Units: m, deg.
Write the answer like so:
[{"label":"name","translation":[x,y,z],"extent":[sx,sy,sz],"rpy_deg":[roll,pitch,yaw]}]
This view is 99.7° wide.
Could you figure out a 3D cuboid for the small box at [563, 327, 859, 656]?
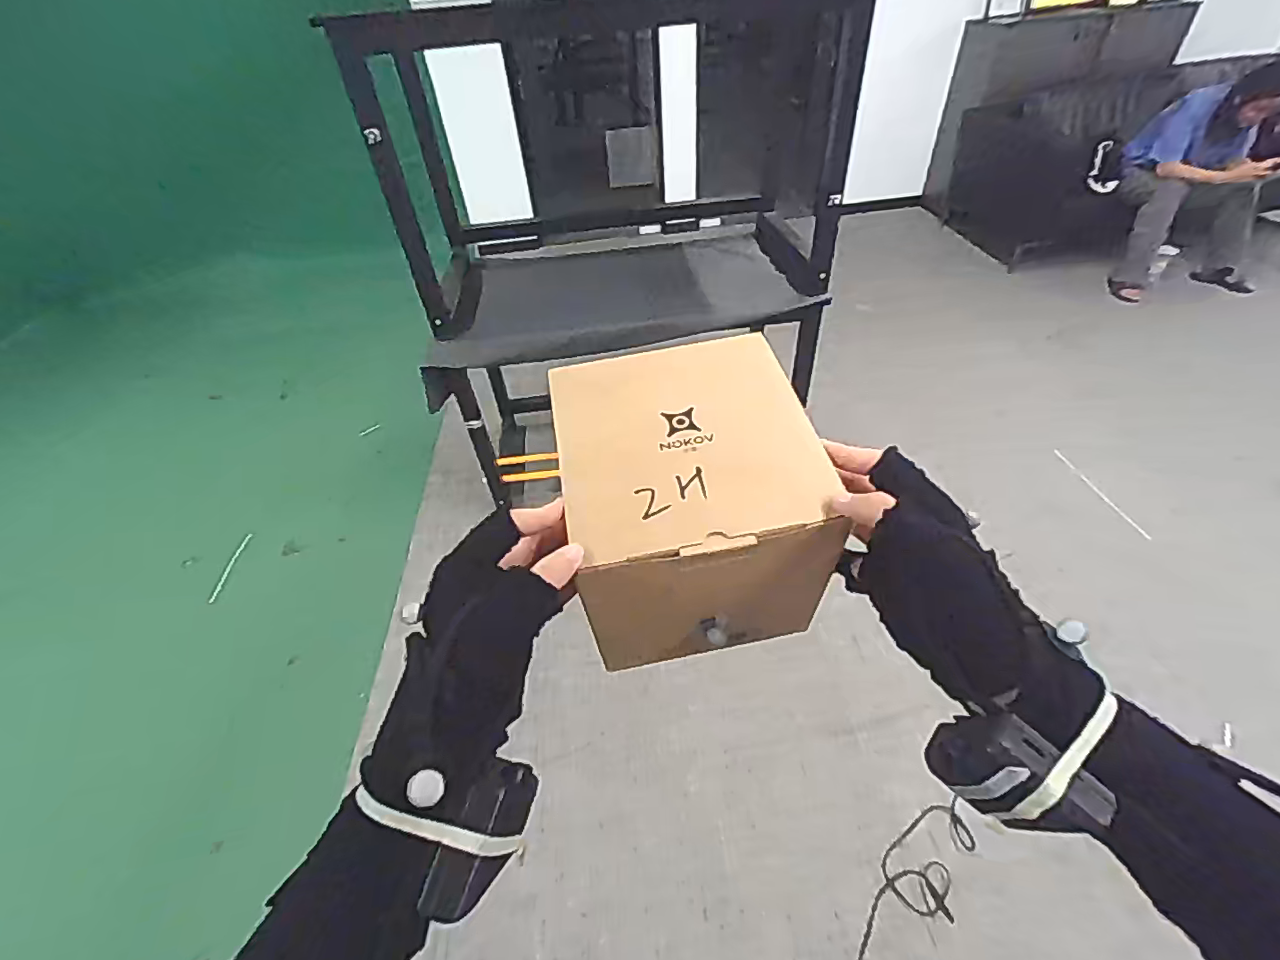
[{"label":"small box","translation":[0.039,0.010,0.421],"extent":[0.168,0.176,0.179],"rpy_deg":[-11,50,-3]}]
